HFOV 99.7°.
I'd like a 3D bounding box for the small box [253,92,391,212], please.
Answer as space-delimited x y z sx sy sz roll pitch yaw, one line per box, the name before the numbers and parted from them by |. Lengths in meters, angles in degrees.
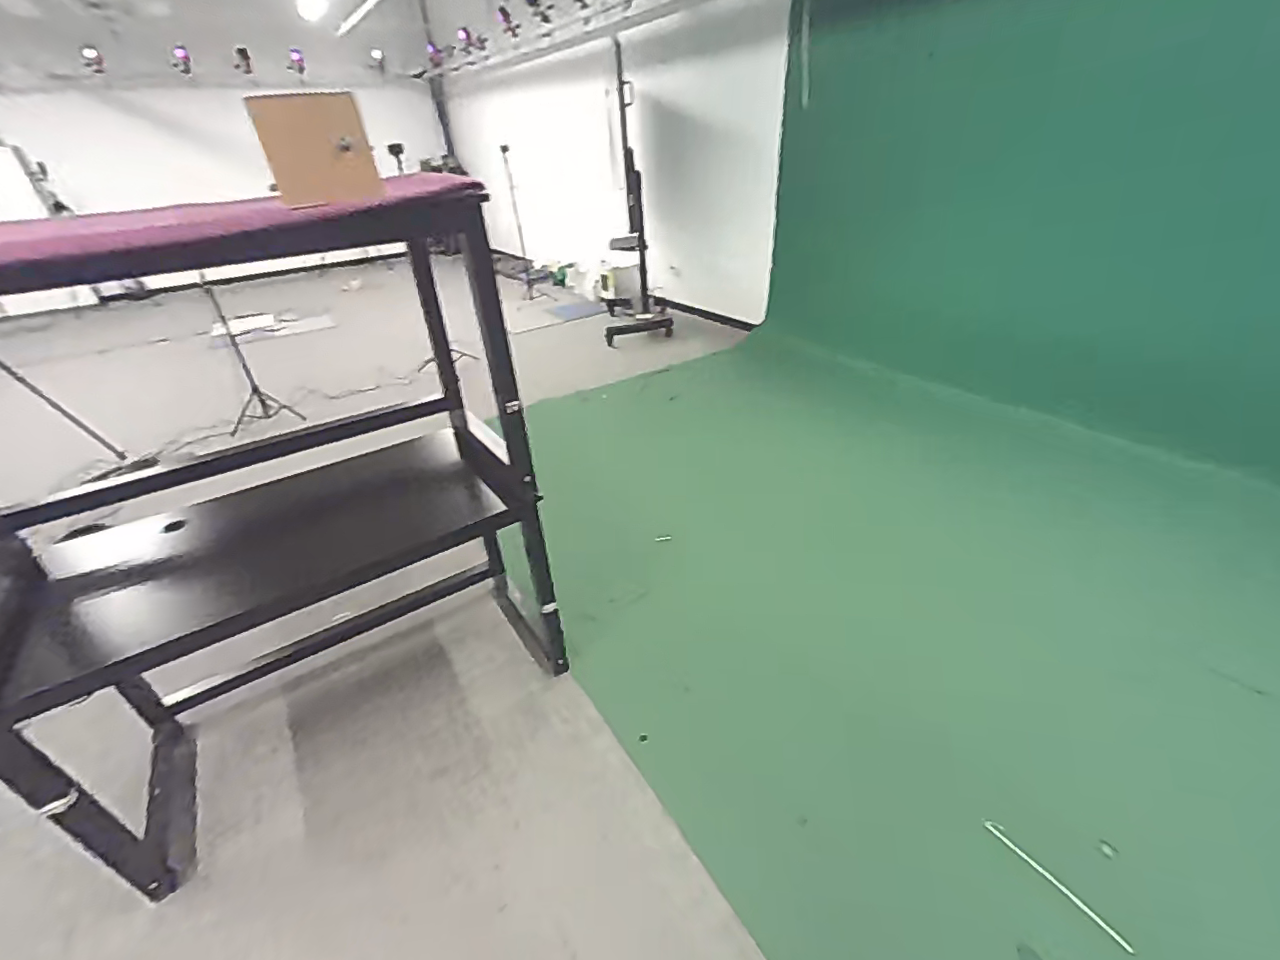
small box | -0.584 -0.610 1.014 0.179 0.176 0.168 -21 33 -21
